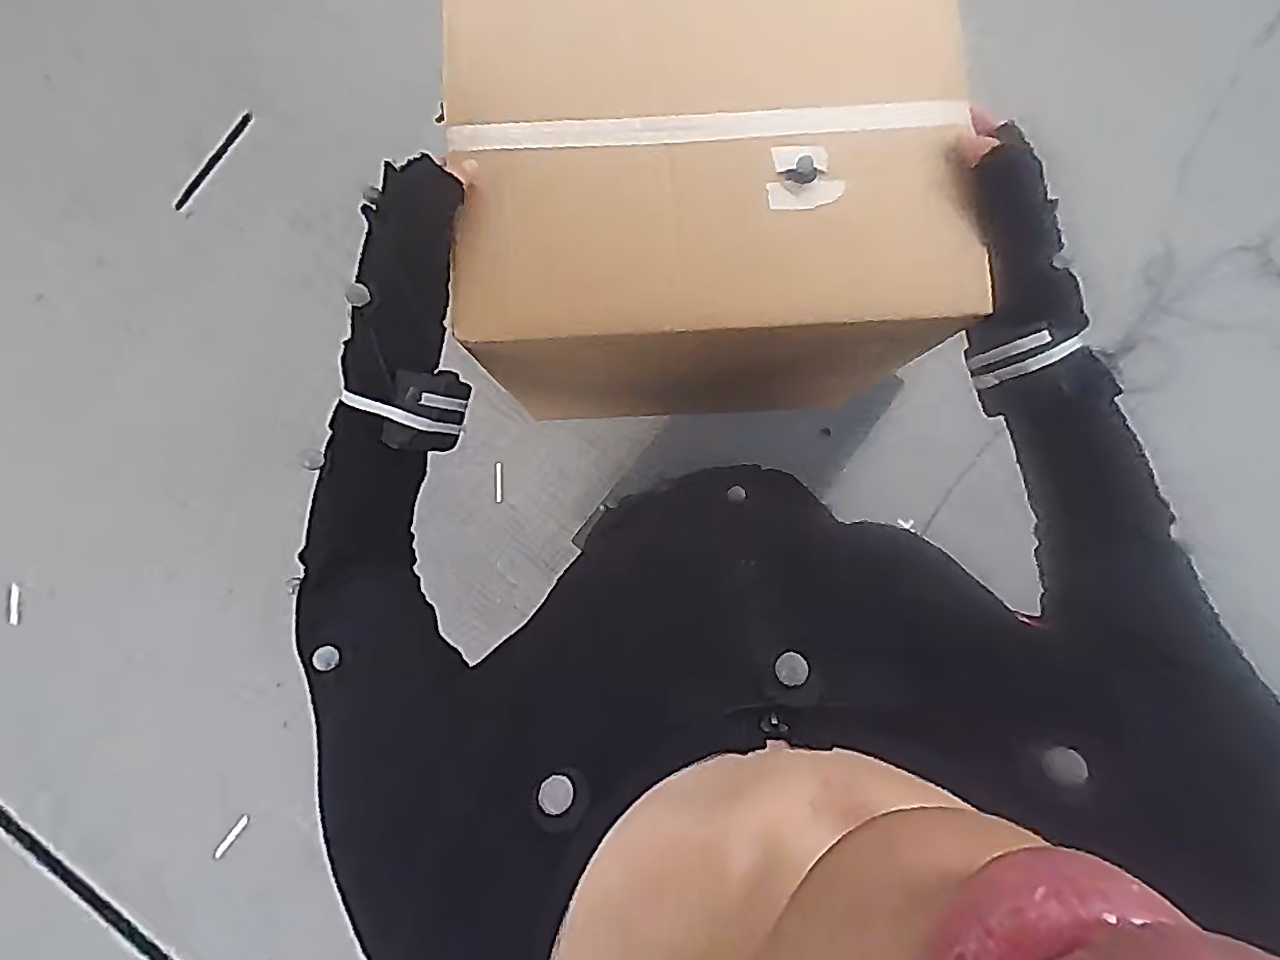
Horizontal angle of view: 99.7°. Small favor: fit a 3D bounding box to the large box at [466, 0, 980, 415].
[{"bbox_3d":[0.058,-0.262,0.582,0.408,0.320,0.320,-3,85,-1],"label":"large box"}]
